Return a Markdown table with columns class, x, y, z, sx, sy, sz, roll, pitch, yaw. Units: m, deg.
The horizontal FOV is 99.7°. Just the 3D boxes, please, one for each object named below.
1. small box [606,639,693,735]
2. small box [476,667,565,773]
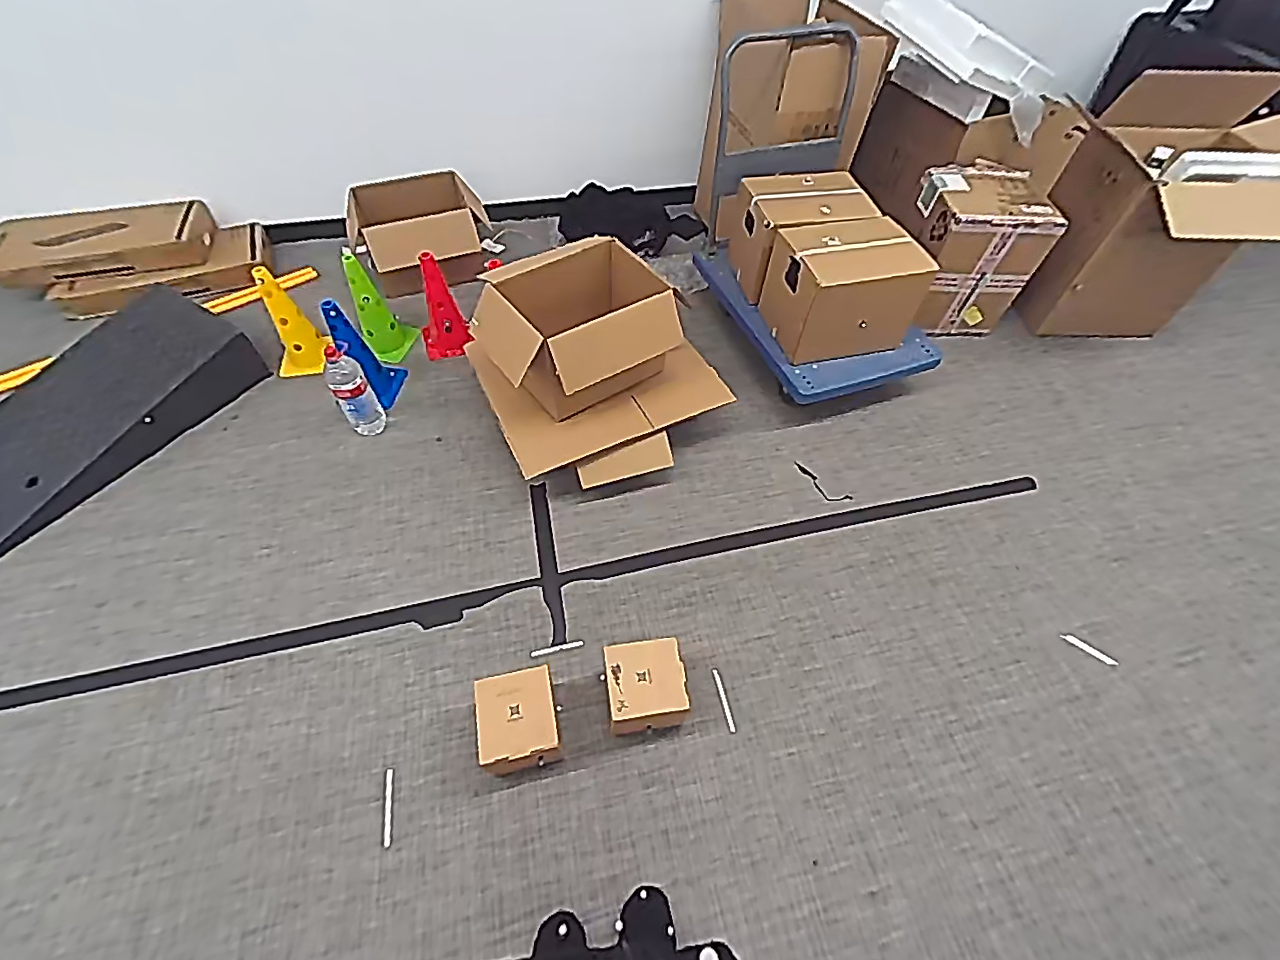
| class | x | y | z | sx | sy | sz | roll | pitch | yaw |
| --- | --- | --- | --- | --- | --- | --- | --- | --- | --- |
| small box | 0.014 | 0.492 | 1.279 | 0.179 | 0.176 | 0.168 | -5 | 56 | -8 |
| small box | -0.267 | 0.549 | 1.225 | 0.168 | 0.176 | 0.179 | -10 | 55 | -11 |
